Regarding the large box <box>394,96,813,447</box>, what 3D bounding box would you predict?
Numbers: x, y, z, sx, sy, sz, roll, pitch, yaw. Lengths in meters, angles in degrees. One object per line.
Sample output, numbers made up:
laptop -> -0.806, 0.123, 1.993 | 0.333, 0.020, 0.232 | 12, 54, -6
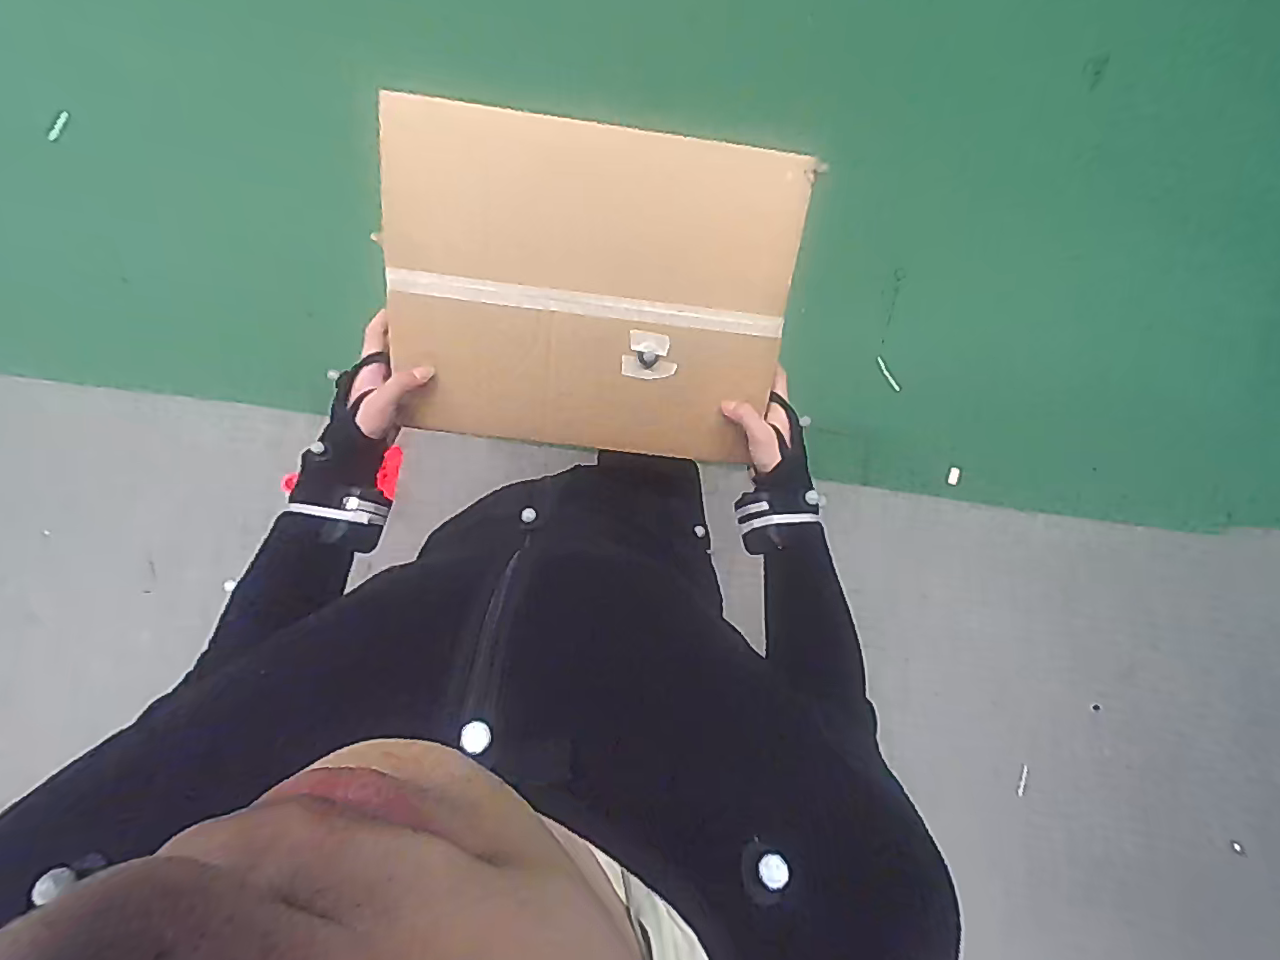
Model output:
large box -> -0.052, -0.249, 0.700 | 0.408, 0.320, 0.320 | 5, 113, -5

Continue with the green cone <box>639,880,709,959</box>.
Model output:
green cone -> 0.121, 1.430, 1.598 | 0.200, 0.368, 0.202 | 13, 94, -4

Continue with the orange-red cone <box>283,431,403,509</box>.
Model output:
orange-red cone -> -0.800, -0.013, 1.401 | 0.199, 0.360, 0.198 | 15, 94, -2
